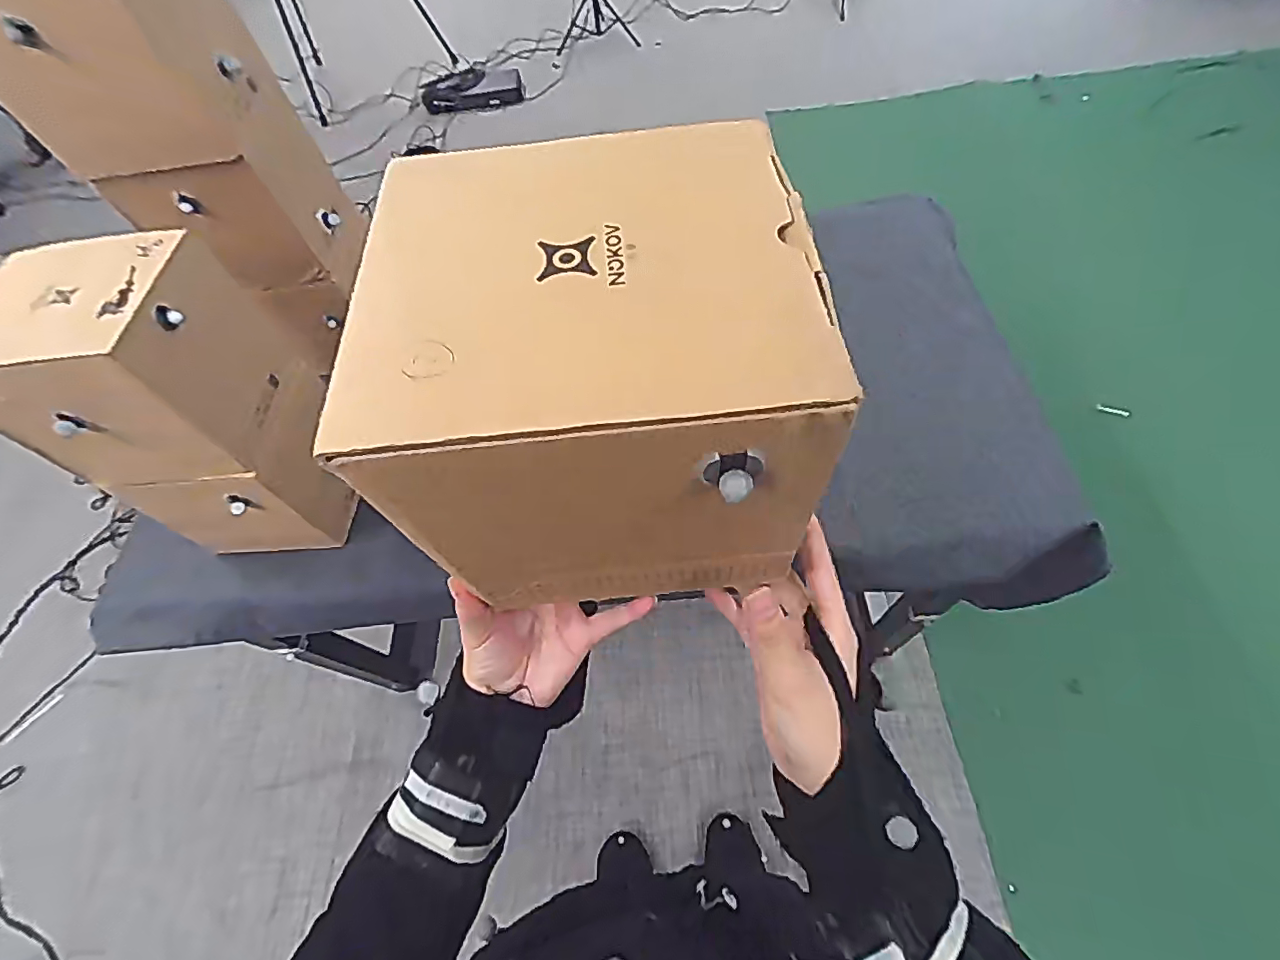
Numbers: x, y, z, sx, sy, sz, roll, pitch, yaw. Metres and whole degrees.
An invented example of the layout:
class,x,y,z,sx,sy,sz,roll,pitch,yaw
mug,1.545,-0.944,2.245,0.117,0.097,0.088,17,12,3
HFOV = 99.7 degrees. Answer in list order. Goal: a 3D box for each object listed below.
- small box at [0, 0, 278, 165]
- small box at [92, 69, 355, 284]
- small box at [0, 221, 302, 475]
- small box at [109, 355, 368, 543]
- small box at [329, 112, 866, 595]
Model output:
class,x,y,z,sx,sy,sz,roll,pitch,yaw
small box,-0.508,-0.437,0.528,0.179,0.176,0.168,-6,63,2
small box,-0.496,-0.367,0.676,0.179,0.176,0.168,-8,63,1
small box,-0.483,-0.118,0.530,0.179,0.176,0.168,-7,59,3
small box,-0.463,-0.031,0.667,0.179,0.176,0.168,-3,58,5
small box,-0.014,-0.048,0.278,0.179,0.176,0.168,-6,61,1
